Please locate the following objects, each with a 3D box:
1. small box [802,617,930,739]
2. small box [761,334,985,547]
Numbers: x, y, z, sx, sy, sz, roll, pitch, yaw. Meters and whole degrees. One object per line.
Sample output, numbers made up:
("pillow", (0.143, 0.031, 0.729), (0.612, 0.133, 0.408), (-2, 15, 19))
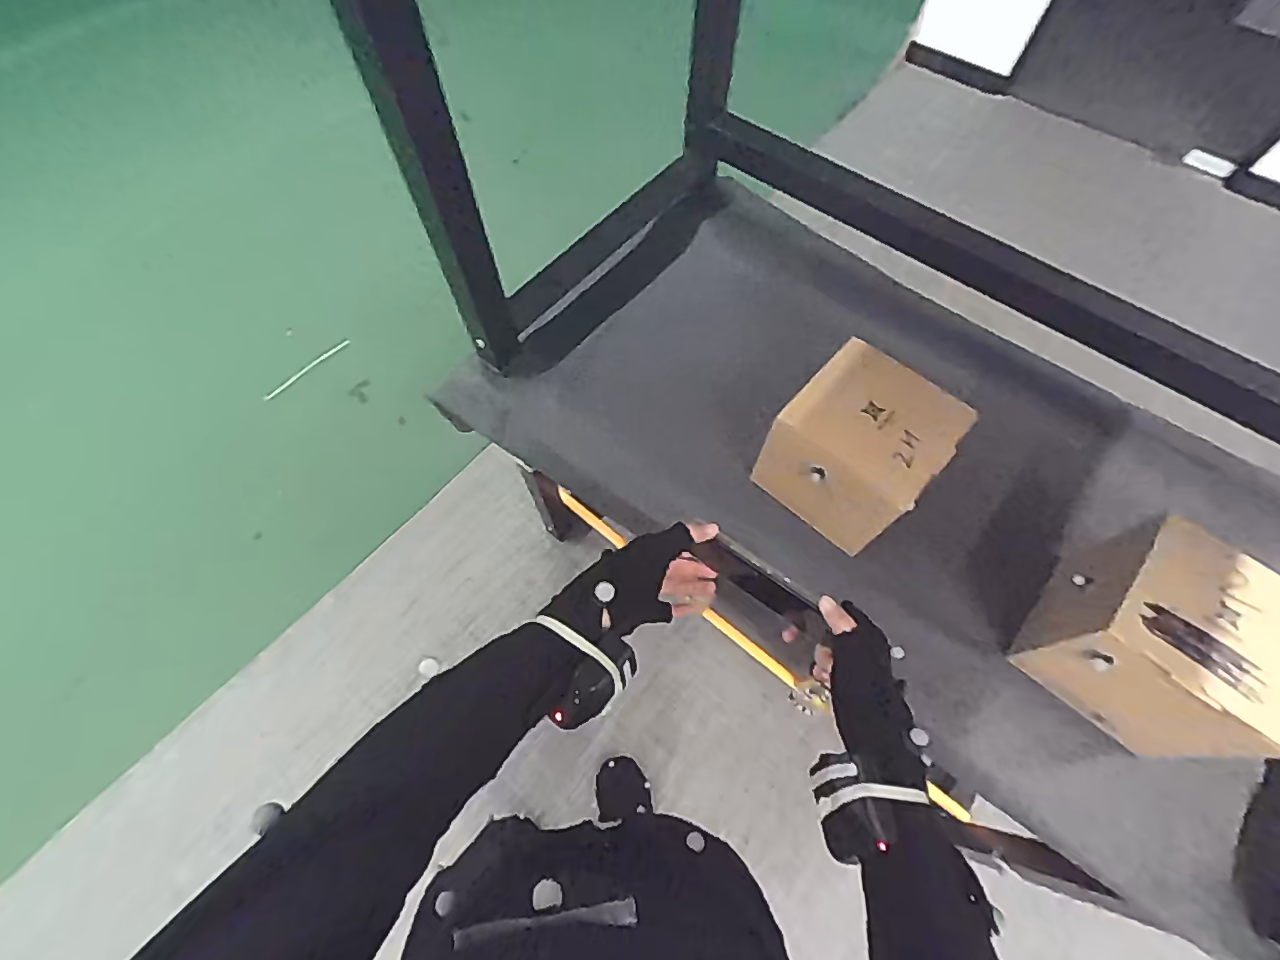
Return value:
("small box", (0.469, 0.426, 1.154), (0.168, 0.176, 0.179), (40, 71, 17))
("small box", (0.278, -0.043, 0.689), (0.179, 0.176, 0.168), (40, 71, 18))
